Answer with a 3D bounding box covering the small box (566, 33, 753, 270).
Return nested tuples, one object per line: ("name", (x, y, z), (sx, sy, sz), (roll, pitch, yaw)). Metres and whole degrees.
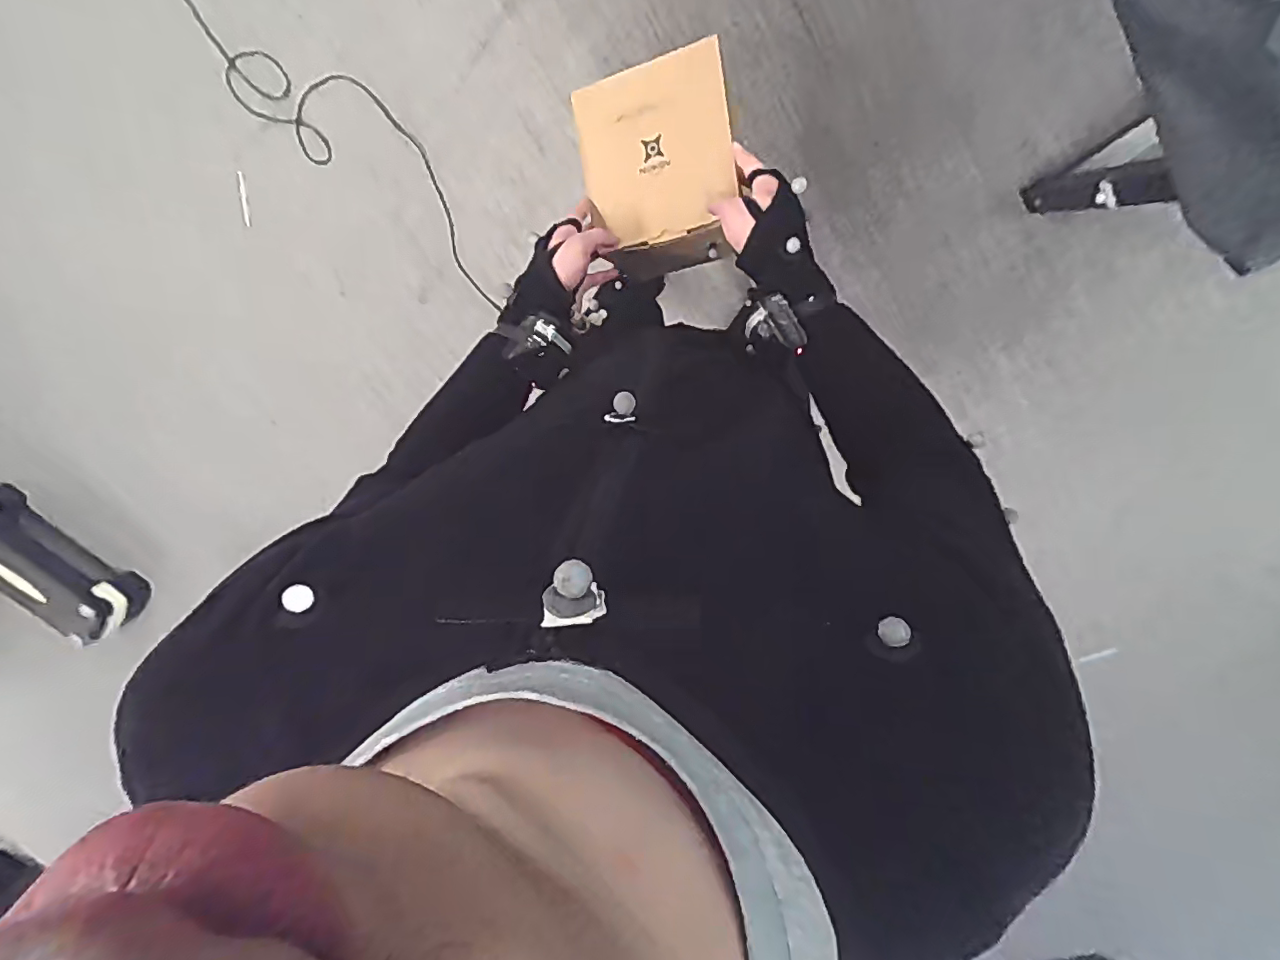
("small box", (0.034, -0.362, 0.643), (0.168, 0.176, 0.179), (-7, 97, 20))
